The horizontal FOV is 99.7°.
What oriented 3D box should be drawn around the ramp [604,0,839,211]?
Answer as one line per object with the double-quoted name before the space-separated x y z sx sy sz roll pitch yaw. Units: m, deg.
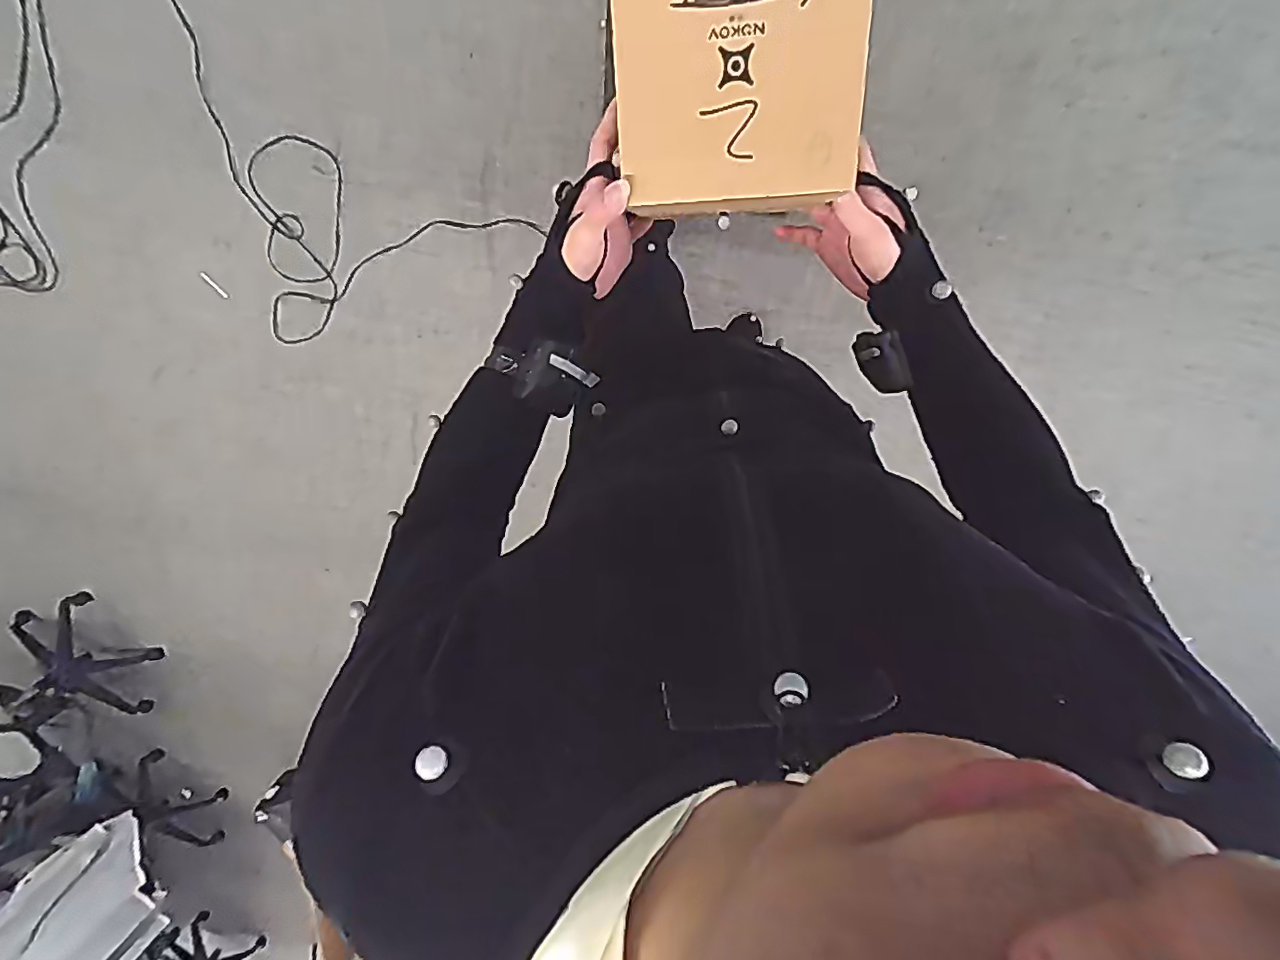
"ramp" 0.185 -1.120 1.101 0.509 0.206 0.991 7 114 5
